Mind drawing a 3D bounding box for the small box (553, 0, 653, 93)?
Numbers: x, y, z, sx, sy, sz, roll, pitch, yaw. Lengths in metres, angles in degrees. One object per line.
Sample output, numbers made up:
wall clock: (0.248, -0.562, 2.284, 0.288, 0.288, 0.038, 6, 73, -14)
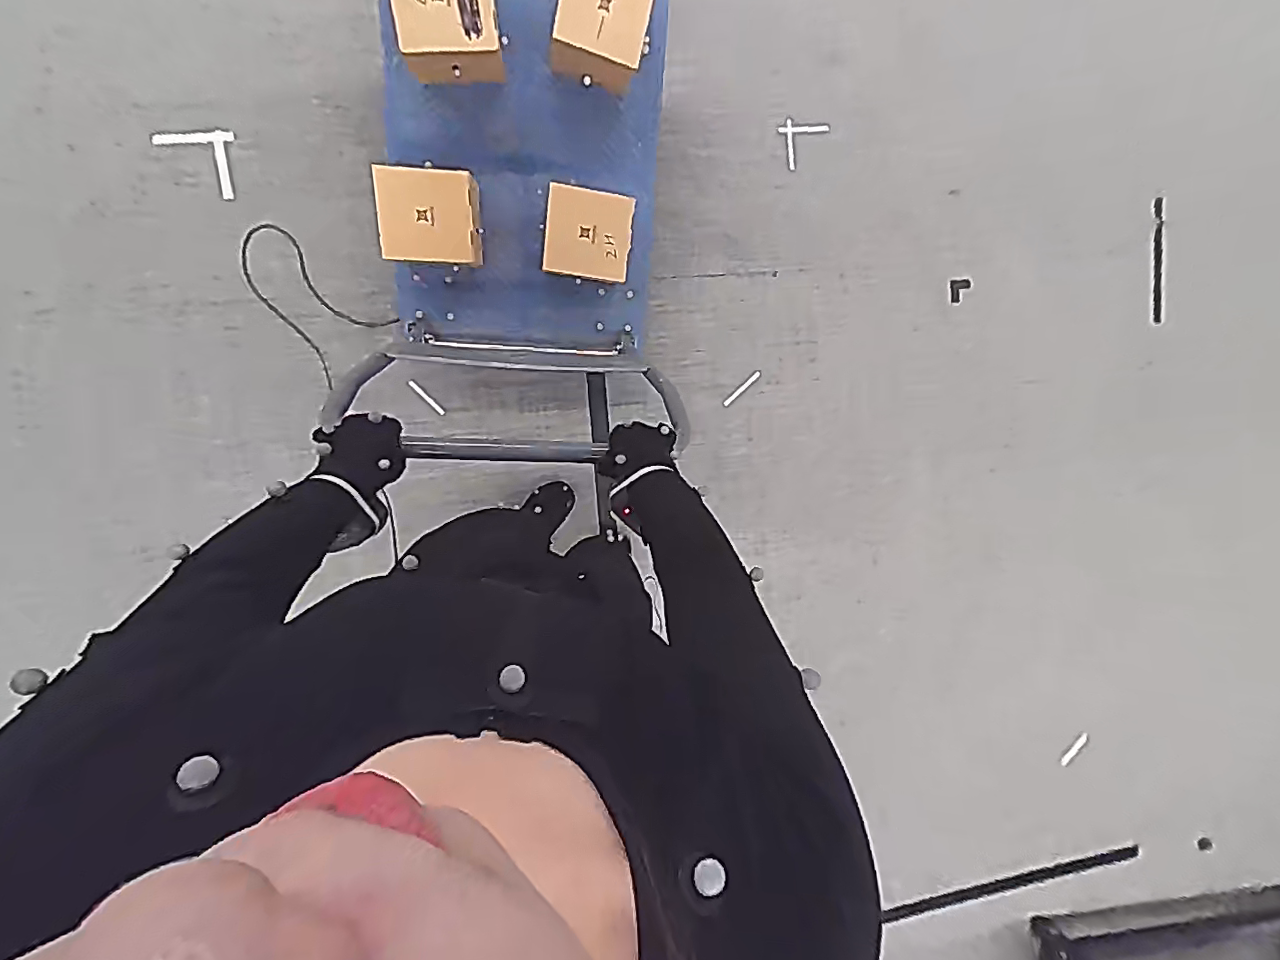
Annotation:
small box: (-0.073, -0.899, 1.048, 0.168, 0.176, 0.179, 11, 108, -14)

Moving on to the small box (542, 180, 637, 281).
small box: (-0.115, -0.529, 1.171, 0.179, 0.176, 0.168, 5, 109, -12)

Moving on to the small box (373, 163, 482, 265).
small box: (-0.427, -0.537, 1.114, 0.179, 0.176, 0.168, -2, 109, -11)
